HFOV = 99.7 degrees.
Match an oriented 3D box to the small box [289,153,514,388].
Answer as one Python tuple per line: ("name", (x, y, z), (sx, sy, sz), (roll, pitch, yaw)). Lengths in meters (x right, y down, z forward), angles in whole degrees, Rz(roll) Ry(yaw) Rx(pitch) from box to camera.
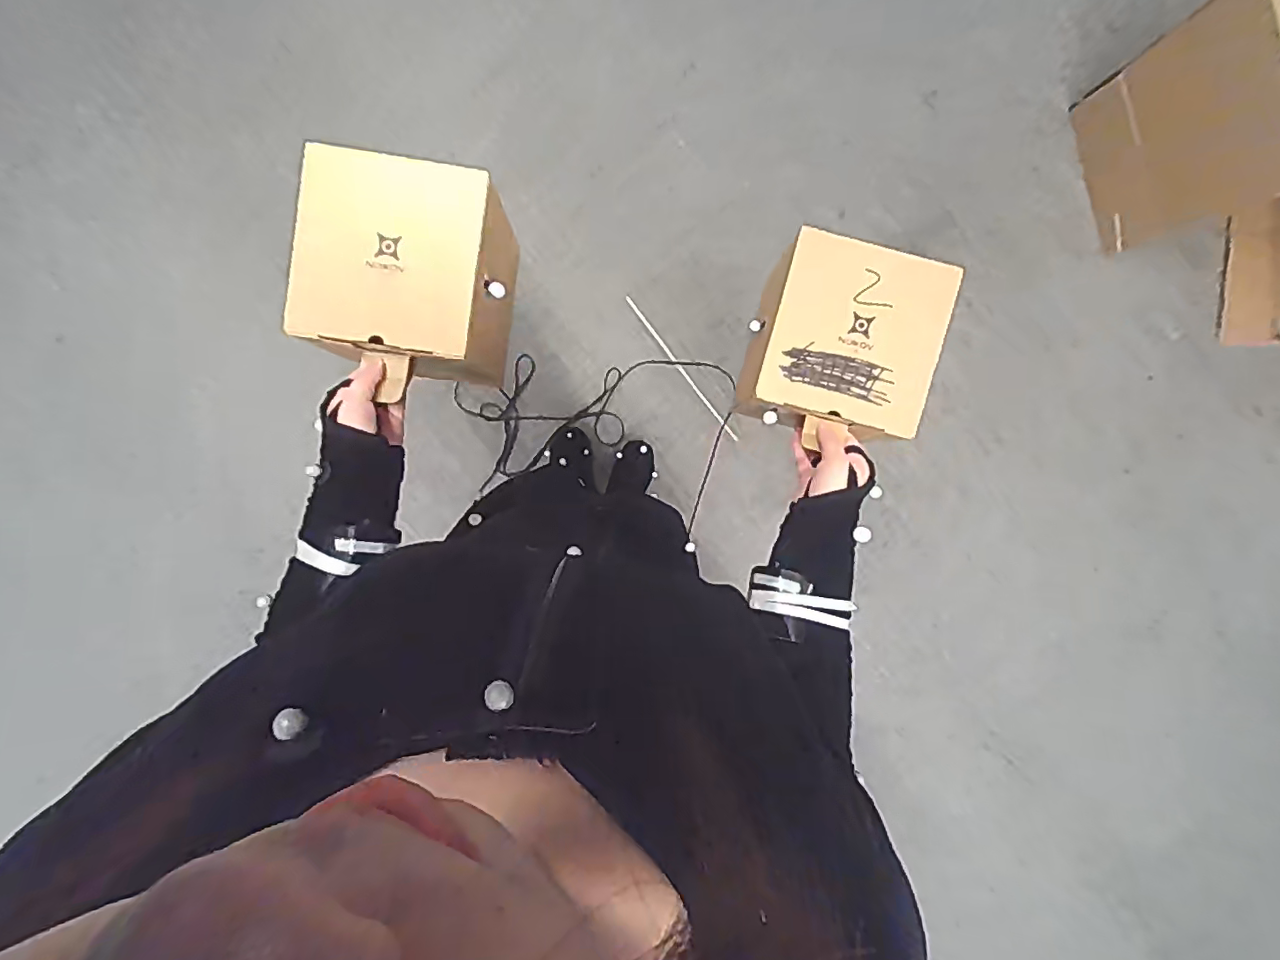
("small box", (-0.237, -0.207, 0.582), (0.168, 0.176, 0.179), (7, 91, -3))
